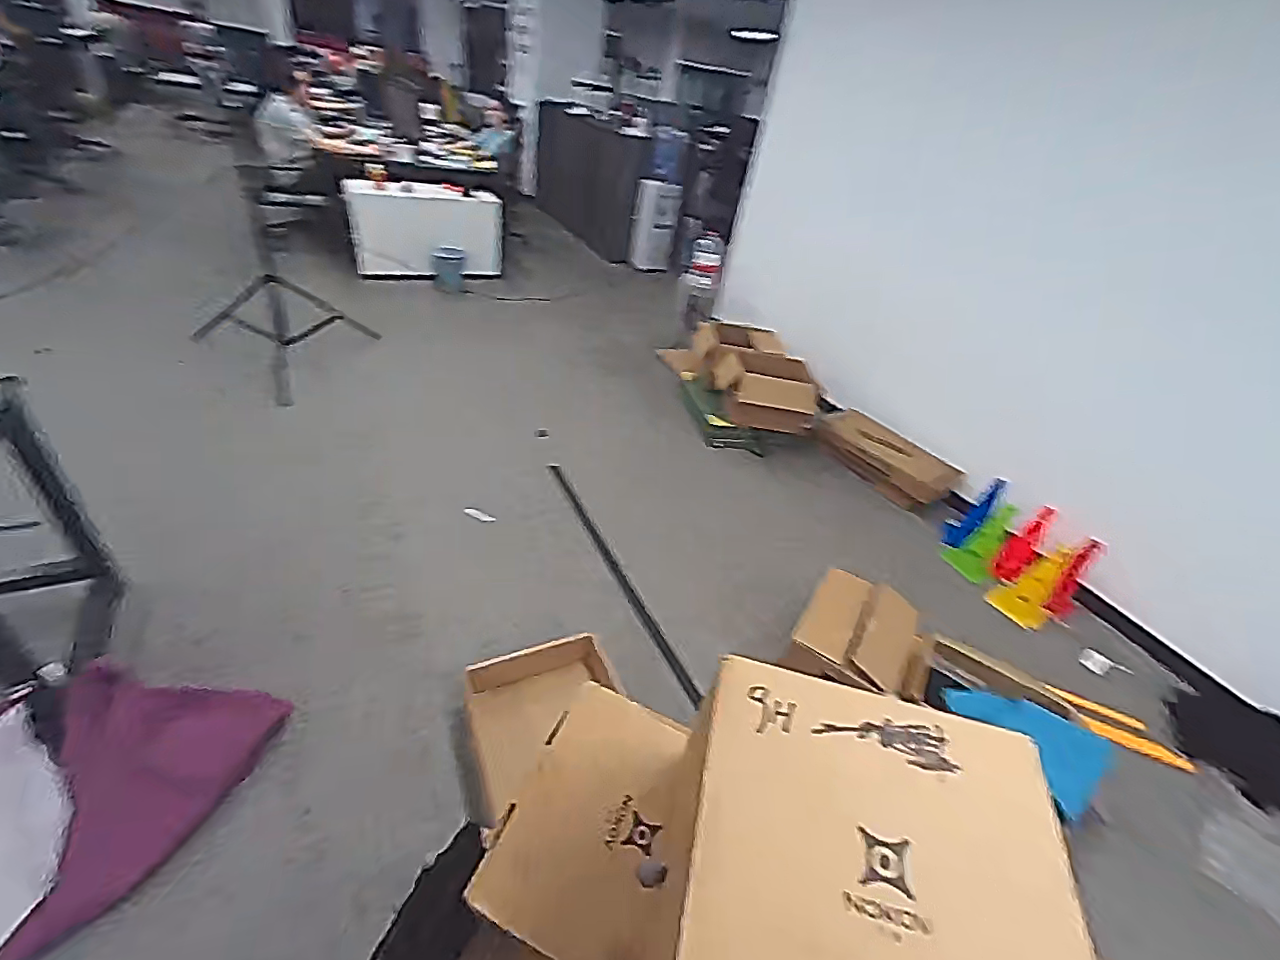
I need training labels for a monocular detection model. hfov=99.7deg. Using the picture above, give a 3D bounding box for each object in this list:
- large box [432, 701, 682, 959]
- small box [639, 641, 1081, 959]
[{"bbox_3d":[0.027,0.512,0.572,0.408,0.320,0.320,21,47,13],"label":"large box"},{"bbox_3d":[0.096,0.223,0.293,0.168,0.176,0.179,13,46,7],"label":"small box"}]
